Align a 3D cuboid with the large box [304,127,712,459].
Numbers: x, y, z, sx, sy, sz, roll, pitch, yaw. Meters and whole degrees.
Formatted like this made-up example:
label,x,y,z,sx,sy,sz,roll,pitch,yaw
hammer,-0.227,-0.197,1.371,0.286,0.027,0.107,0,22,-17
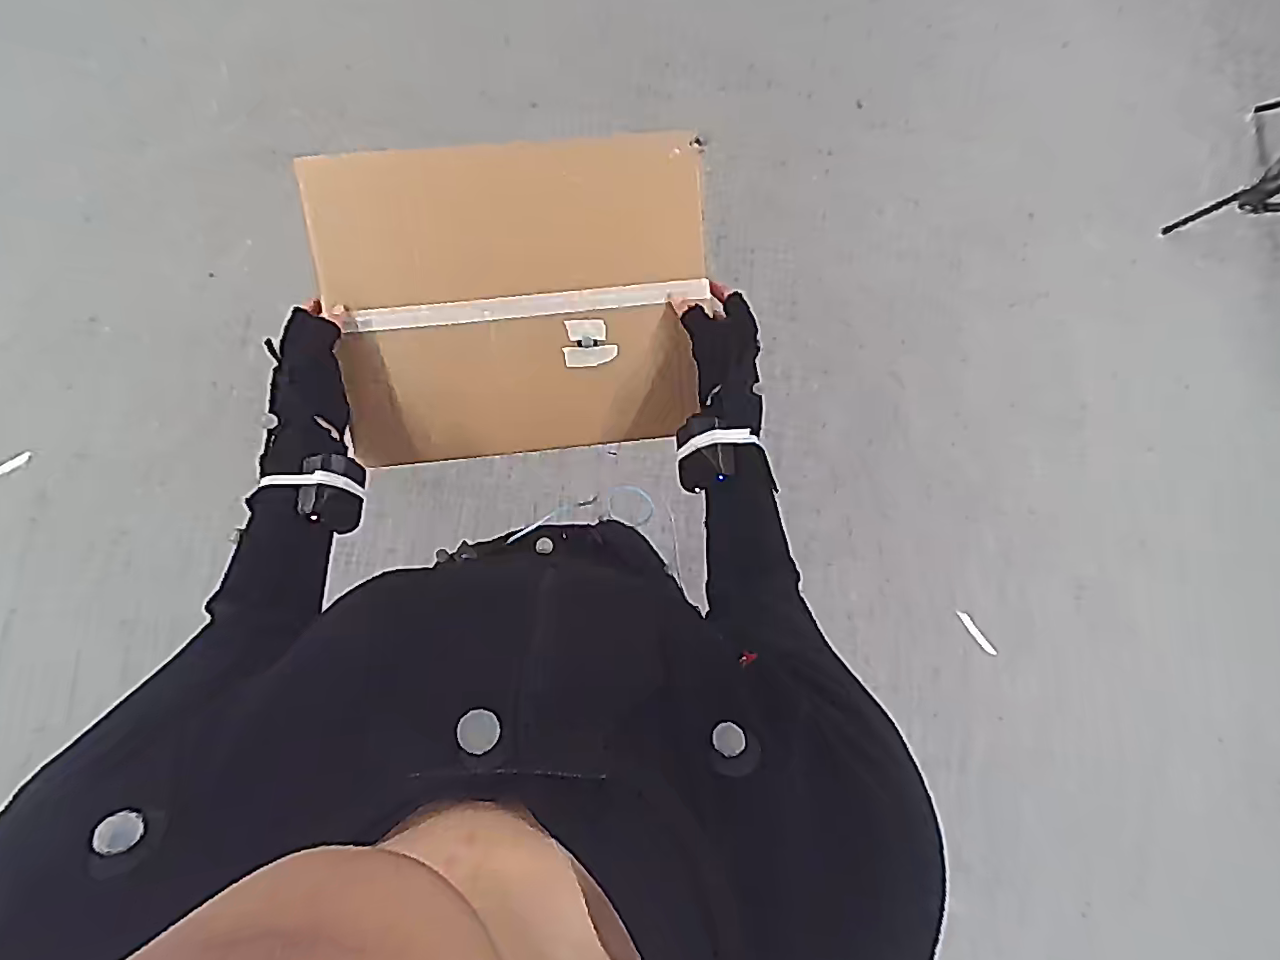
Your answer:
label,x,y,z,sx,sy,sz,roll,pitch,yaw
large box,-0.142,-0.227,0.732,0.408,0.320,0.320,-7,104,-4
